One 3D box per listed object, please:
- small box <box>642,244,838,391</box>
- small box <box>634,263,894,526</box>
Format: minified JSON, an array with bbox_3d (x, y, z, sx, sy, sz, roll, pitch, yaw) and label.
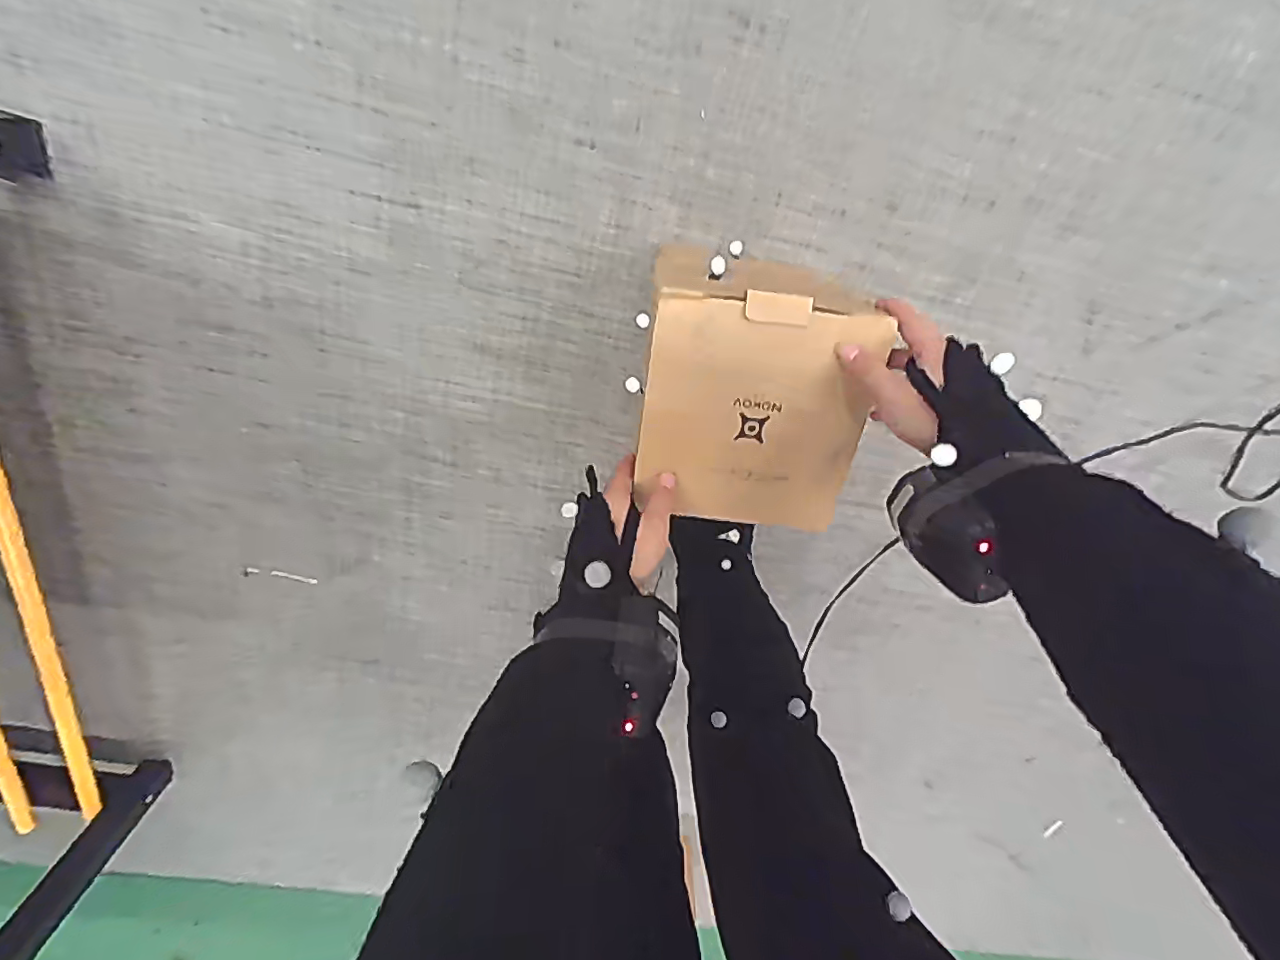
[{"bbox_3d":[0.099,-0.175,0.636,0.179,0.176,0.168,7,118,-4],"label":"small box"},{"bbox_3d":[0.087,-0.084,0.474,0.168,0.176,0.179,6,119,0],"label":"small box"}]
